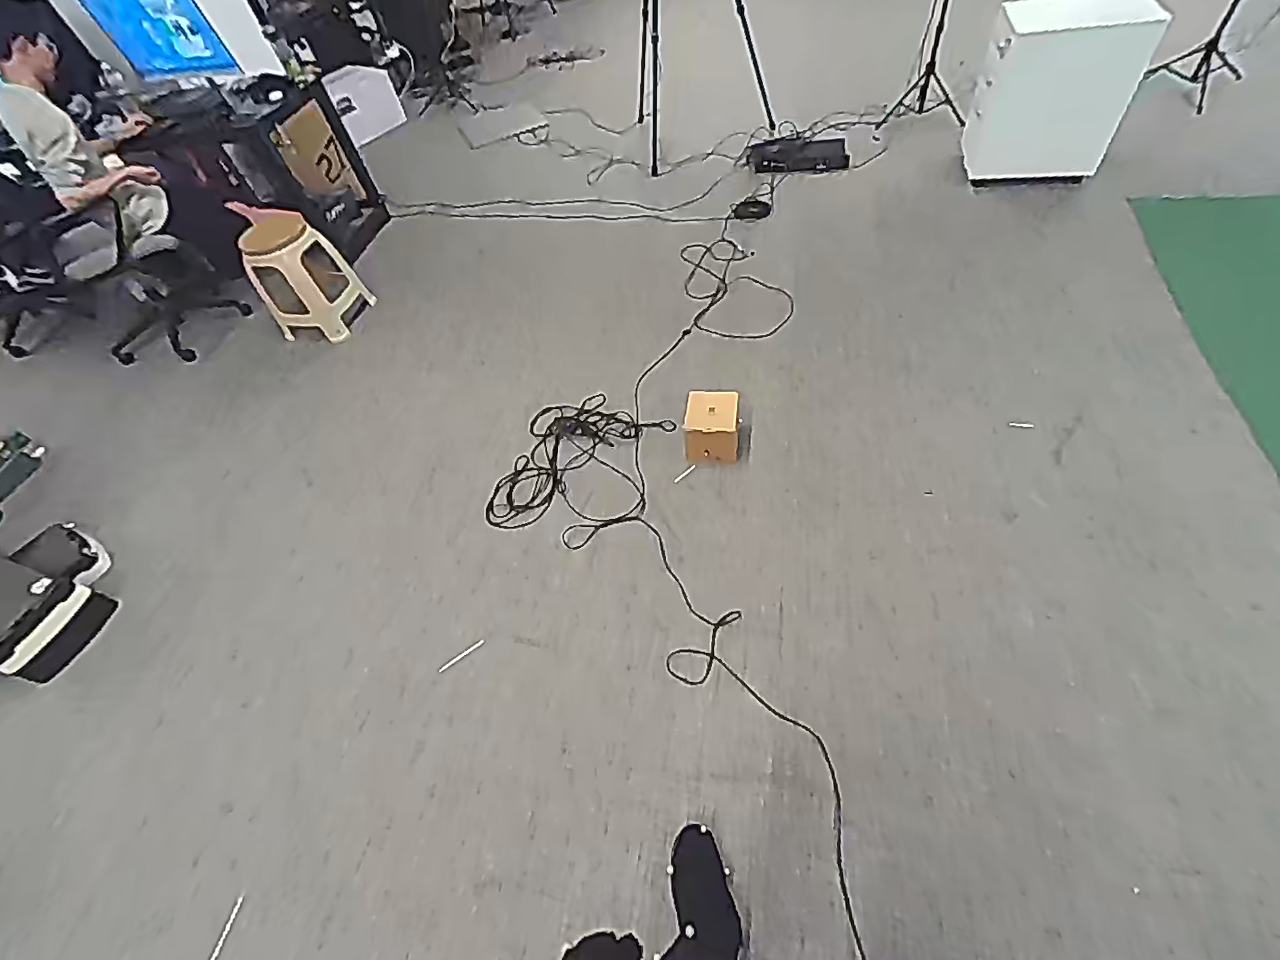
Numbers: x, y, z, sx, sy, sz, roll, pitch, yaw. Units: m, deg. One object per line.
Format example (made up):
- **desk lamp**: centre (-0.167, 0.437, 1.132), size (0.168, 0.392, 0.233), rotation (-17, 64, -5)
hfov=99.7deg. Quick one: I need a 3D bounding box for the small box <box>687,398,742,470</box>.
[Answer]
- **small box**: centre (0.255, -0.156, 1.824), size (0.168, 0.176, 0.179), rotation (3, 54, 13)
